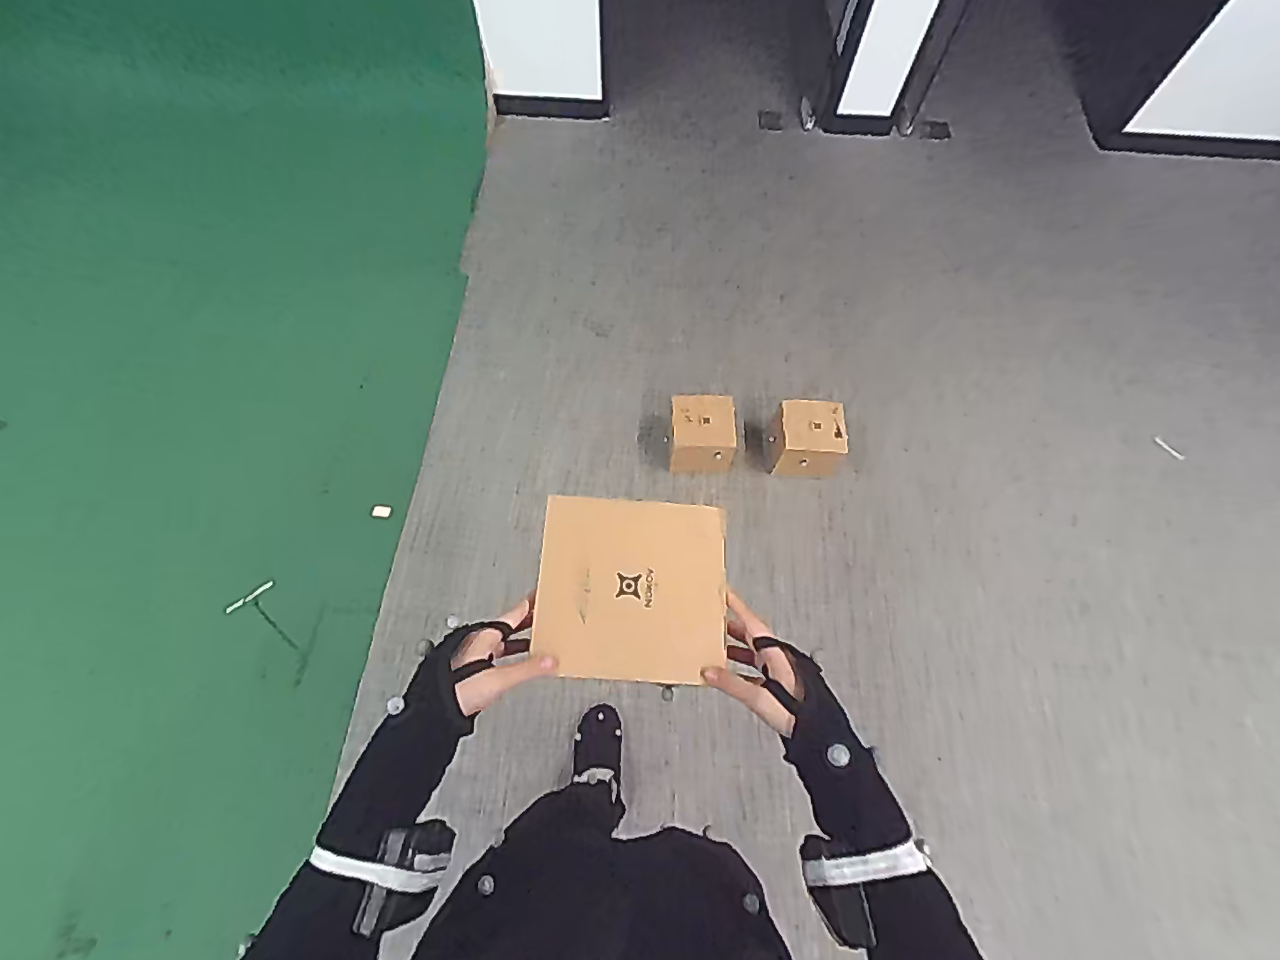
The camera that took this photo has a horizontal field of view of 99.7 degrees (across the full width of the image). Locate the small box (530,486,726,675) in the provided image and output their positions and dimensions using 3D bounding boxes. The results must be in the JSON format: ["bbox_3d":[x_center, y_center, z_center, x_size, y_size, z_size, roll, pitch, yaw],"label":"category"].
[{"bbox_3d":[-0.011,0.118,0.585,0.179,0.176,0.168,5,68,-1],"label":"small box"}]

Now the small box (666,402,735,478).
[{"bbox_3d":[0.170,-0.113,1.579,0.179,0.176,0.168,0,64,-1],"label":"small box"}]
